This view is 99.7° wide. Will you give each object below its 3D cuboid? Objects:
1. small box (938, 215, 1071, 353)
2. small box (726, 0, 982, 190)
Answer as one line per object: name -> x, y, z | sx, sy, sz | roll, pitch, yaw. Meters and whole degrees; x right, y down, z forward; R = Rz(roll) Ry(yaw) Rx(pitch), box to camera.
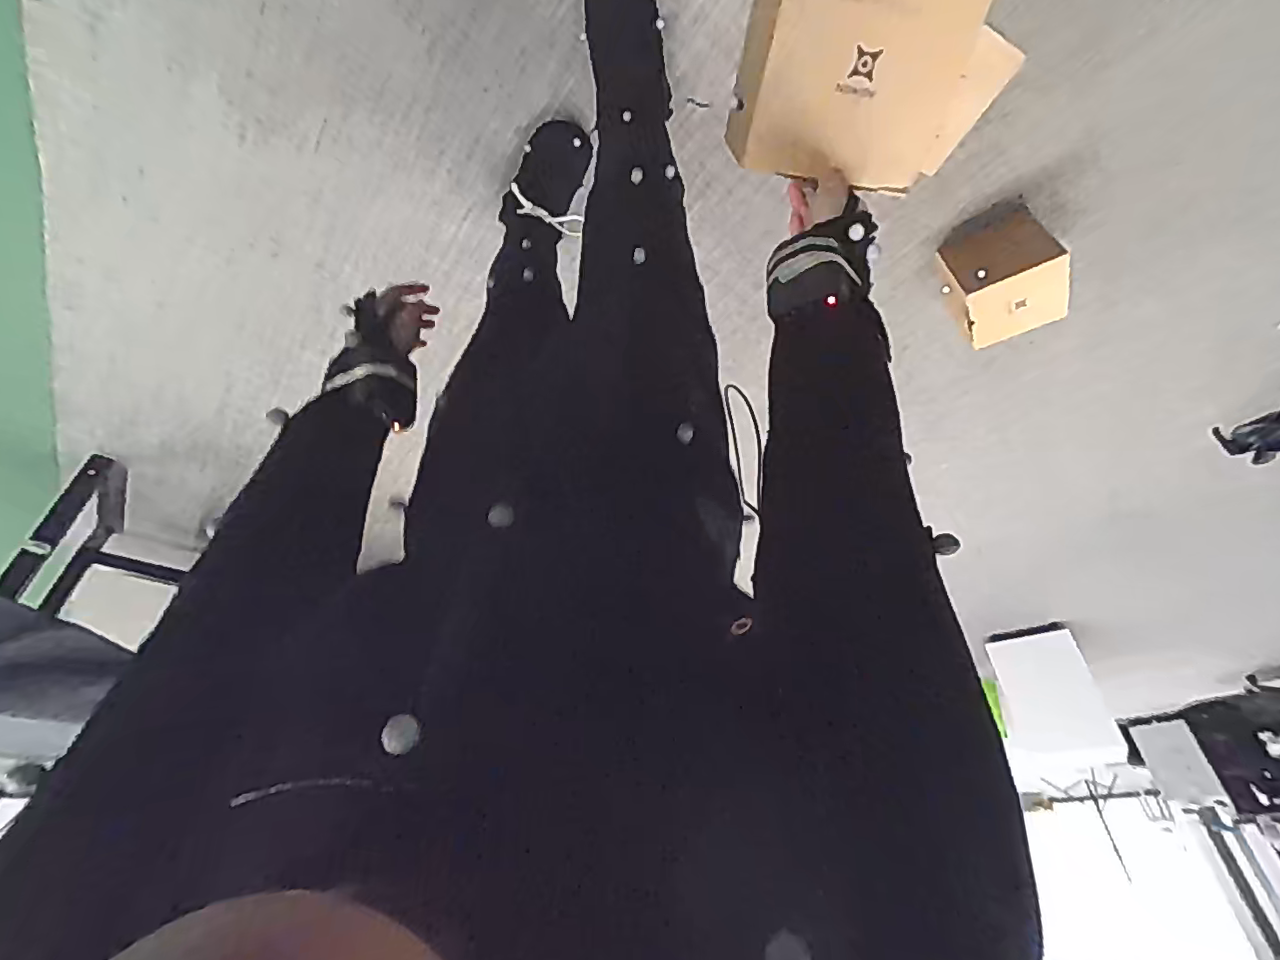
small box -> 0.744, -0.404, 1.115 | 0.179, 0.176, 0.168 | -21, 140, 25
small box -> 0.182, -0.400, 0.513 | 0.168, 0.176, 0.179 | 6, 130, -4
